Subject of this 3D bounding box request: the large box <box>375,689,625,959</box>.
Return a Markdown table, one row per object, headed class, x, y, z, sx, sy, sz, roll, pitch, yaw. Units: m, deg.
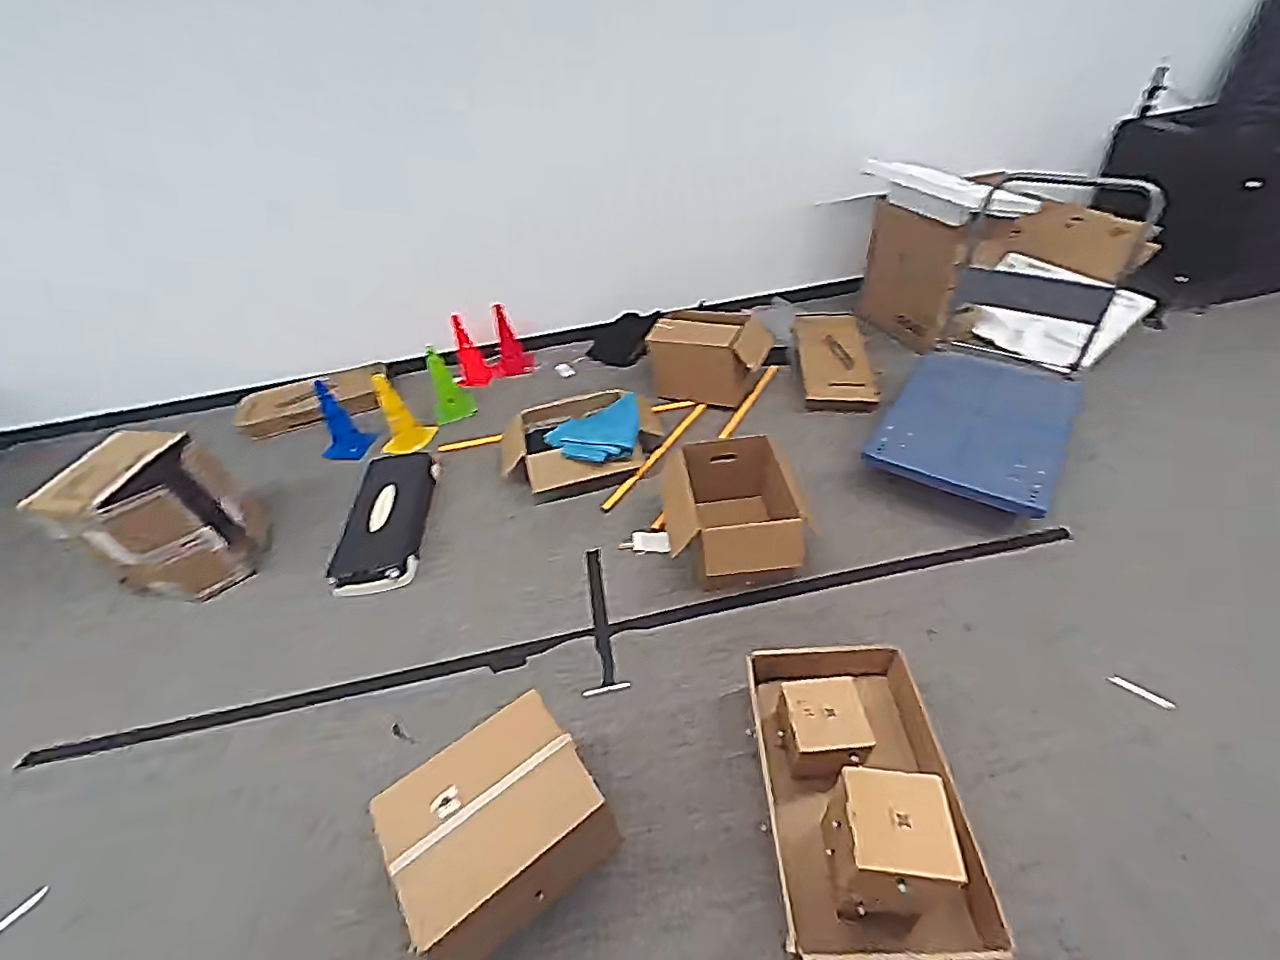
| class | x | y | z | sx | sy | sz | roll | pitch | yaw |
| --- | --- | --- | --- | --- | --- | --- | --- | --- | --- |
| large box | -0.292 | 0.769 | 1.214 | 0.408 | 0.320 | 0.320 | -31 | 47 | -22 |
